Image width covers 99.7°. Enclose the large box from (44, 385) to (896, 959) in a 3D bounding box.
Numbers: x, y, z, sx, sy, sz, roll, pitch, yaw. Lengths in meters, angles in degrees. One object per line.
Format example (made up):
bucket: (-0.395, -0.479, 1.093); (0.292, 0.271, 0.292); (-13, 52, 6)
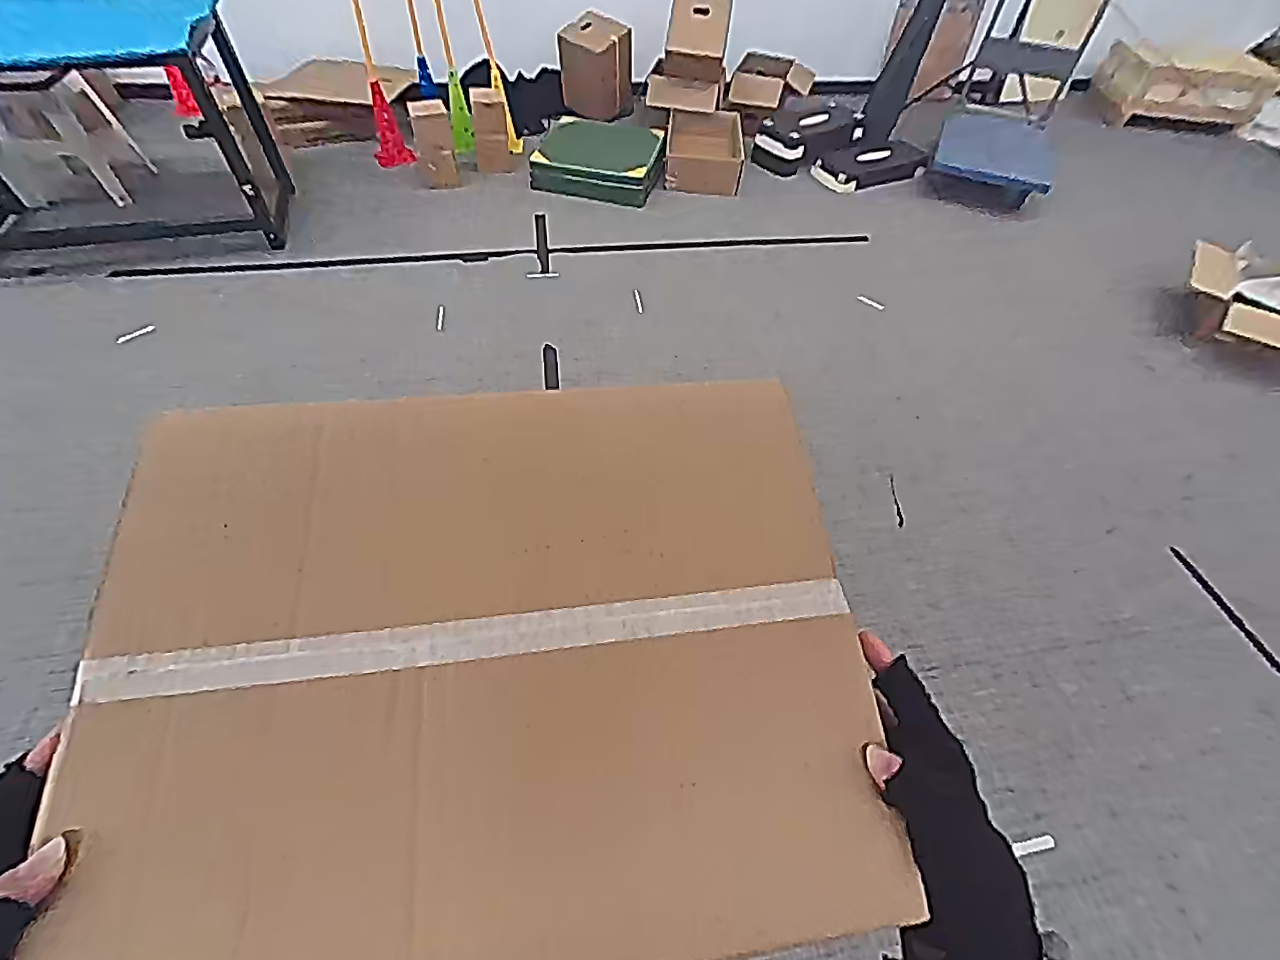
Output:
large box: (-0.092, 0.147, 0.443); (0.408, 0.320, 0.320); (-5, 66, -7)
